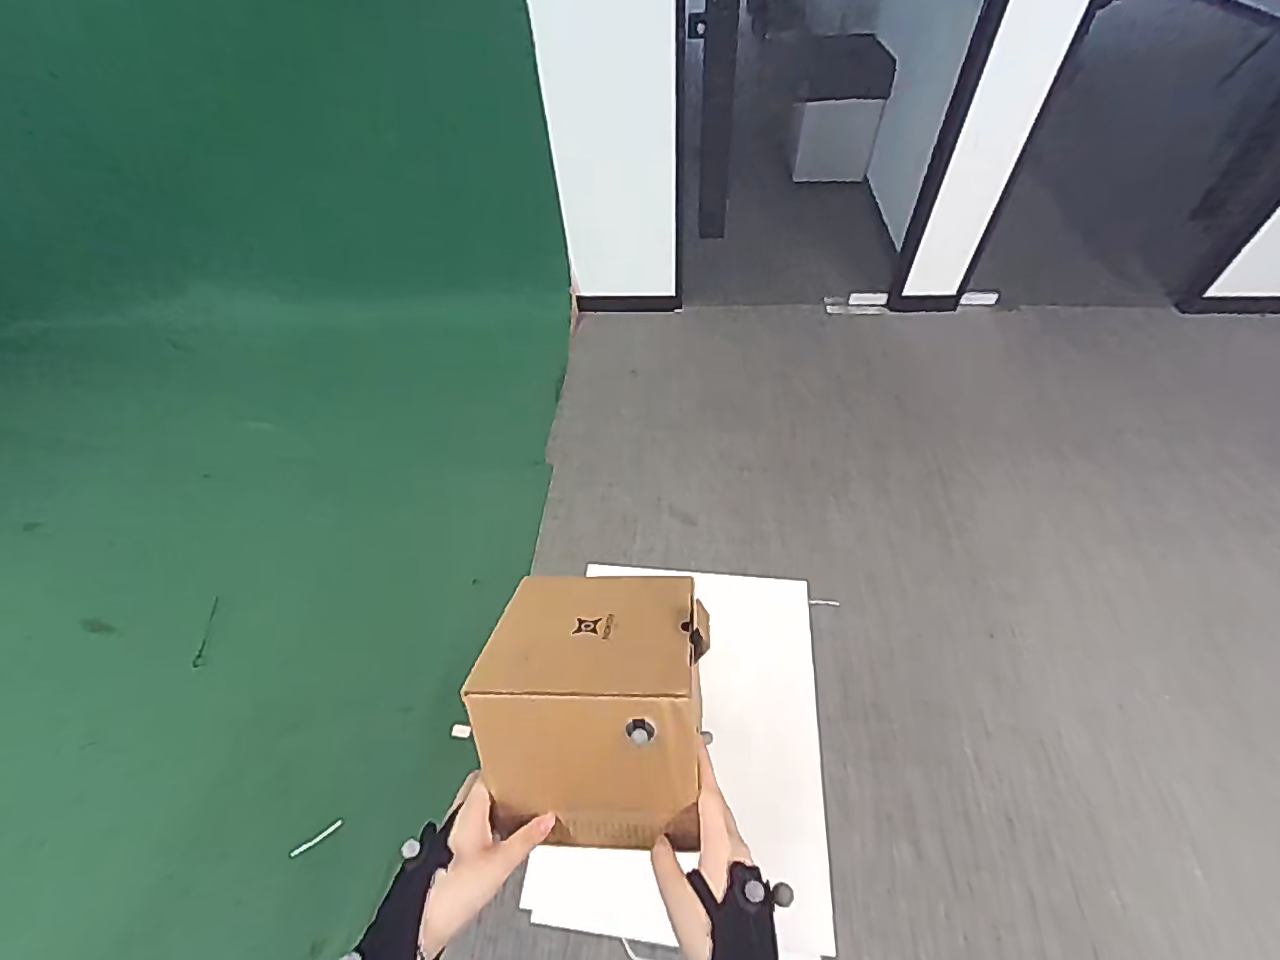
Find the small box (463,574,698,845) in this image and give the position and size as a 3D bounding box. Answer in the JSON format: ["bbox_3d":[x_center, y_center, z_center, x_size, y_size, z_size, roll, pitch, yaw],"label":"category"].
[{"bbox_3d":[-0.038,0.202,0.502,0.179,0.176,0.168,-1,20,6],"label":"small box"}]
